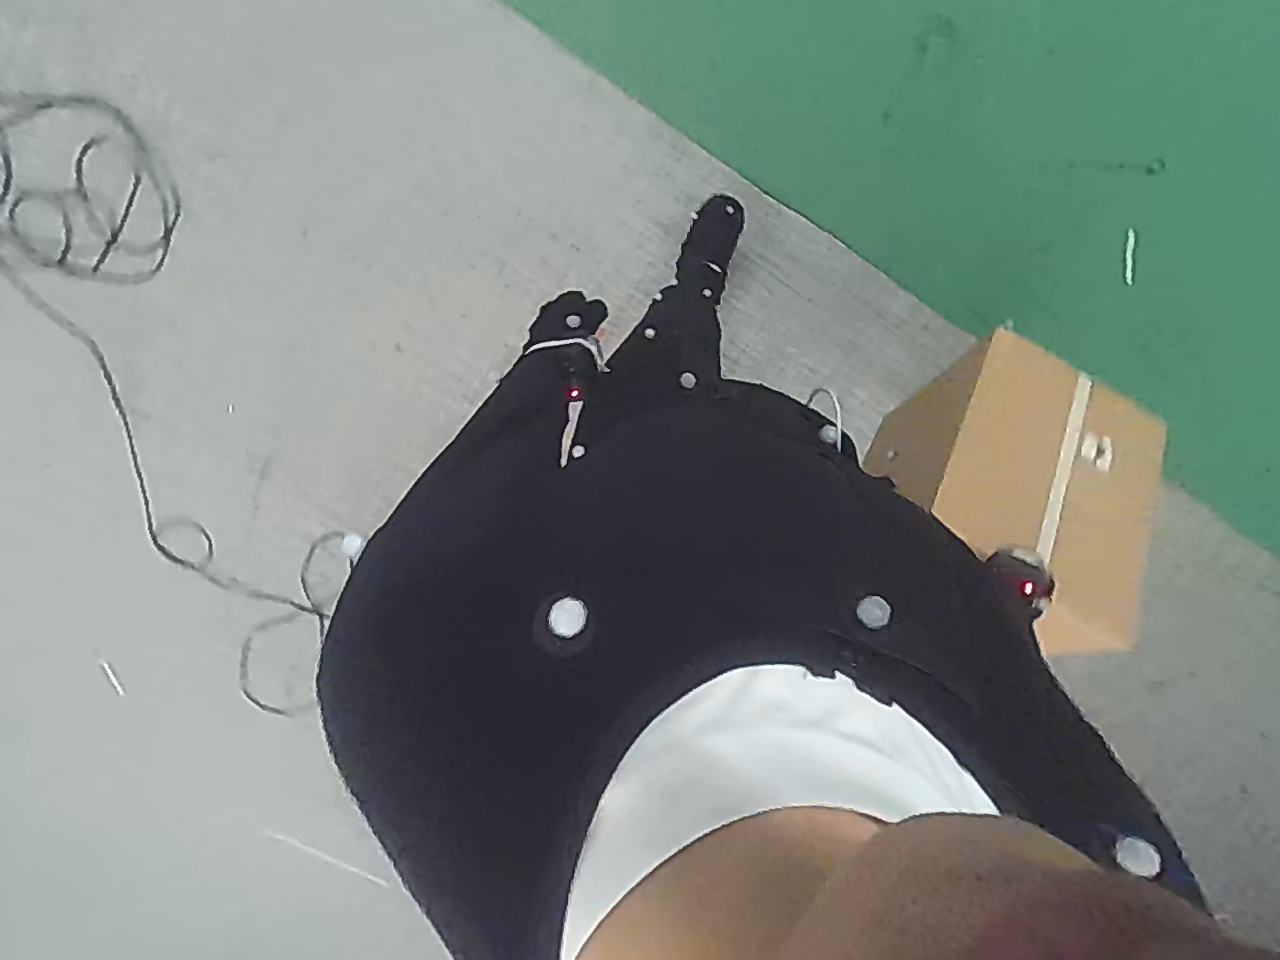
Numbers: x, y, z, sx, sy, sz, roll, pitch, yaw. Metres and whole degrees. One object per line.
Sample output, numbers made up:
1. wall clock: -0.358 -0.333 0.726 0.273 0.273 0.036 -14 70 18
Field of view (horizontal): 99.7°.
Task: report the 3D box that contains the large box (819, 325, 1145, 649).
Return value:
1. large box: 0.575 0.028 0.943 0.320 0.320 0.408 33 65 2
